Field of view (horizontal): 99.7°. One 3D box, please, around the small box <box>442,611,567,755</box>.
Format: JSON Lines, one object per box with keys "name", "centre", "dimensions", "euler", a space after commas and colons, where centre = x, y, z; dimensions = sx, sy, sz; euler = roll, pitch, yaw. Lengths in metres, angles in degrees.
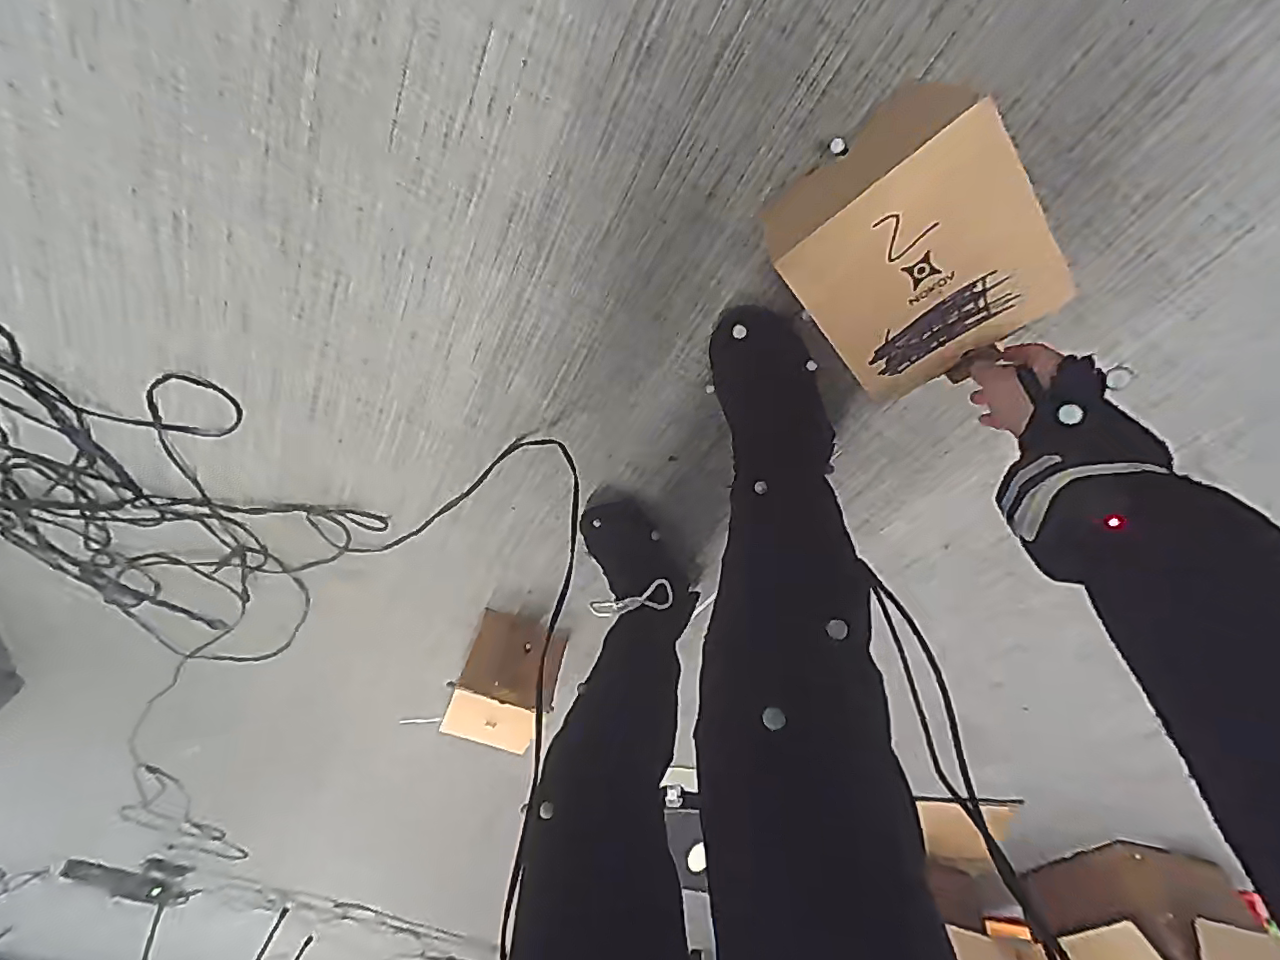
{"name": "small box", "centre": [-0.251, 0.383, 1.024], "dimensions": [0.168, 0.176, 0.179], "euler": [23, 127, -10]}
